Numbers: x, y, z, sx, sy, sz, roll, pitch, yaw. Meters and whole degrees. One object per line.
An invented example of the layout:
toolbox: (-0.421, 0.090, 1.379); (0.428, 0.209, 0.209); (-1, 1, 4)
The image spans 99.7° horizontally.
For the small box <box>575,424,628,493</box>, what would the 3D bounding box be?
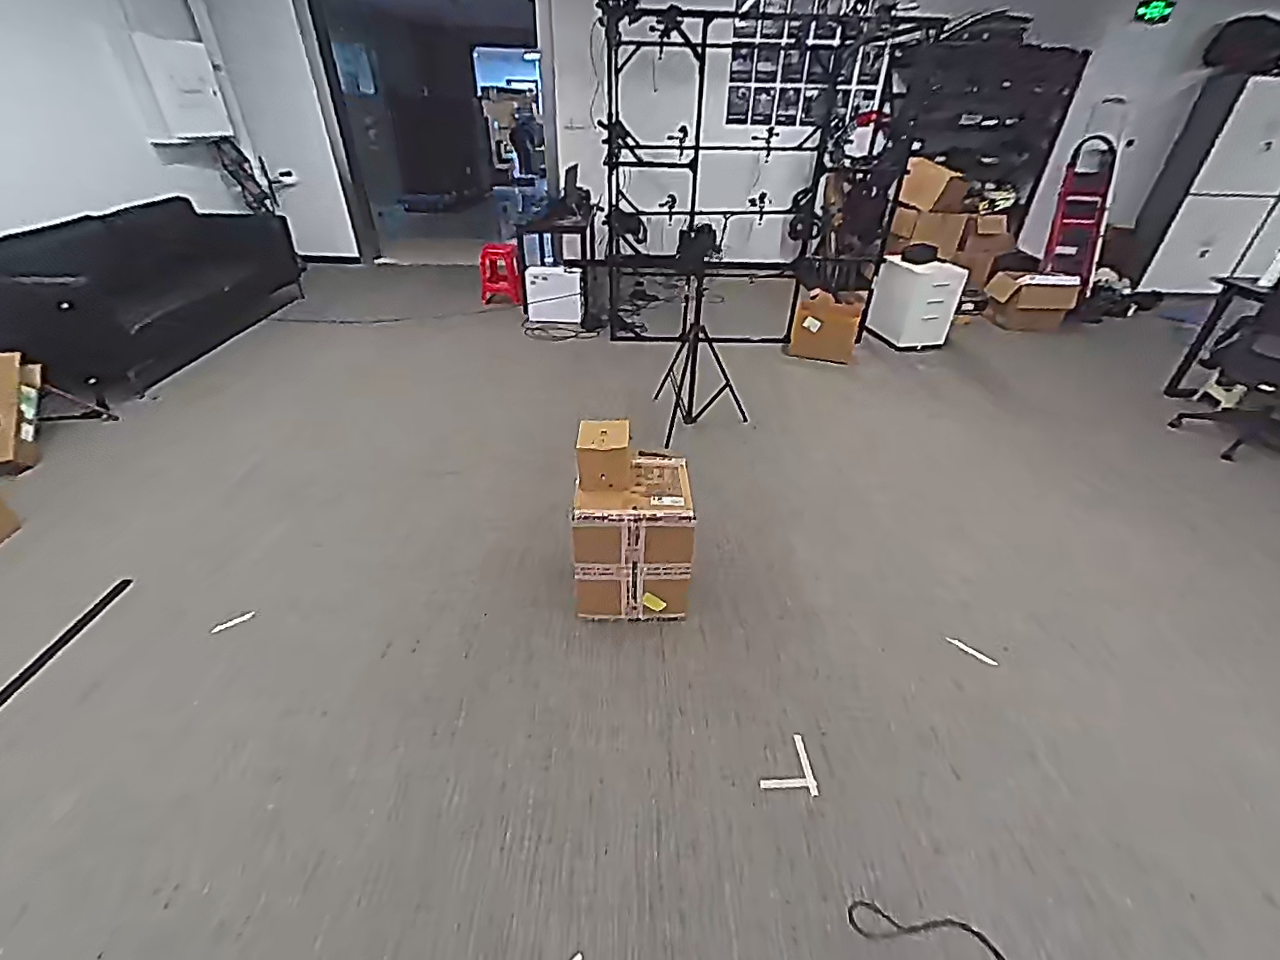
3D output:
small box: (-0.127, -0.073, 1.822); (0.168, 0.176, 0.179); (-1, 36, 0)
